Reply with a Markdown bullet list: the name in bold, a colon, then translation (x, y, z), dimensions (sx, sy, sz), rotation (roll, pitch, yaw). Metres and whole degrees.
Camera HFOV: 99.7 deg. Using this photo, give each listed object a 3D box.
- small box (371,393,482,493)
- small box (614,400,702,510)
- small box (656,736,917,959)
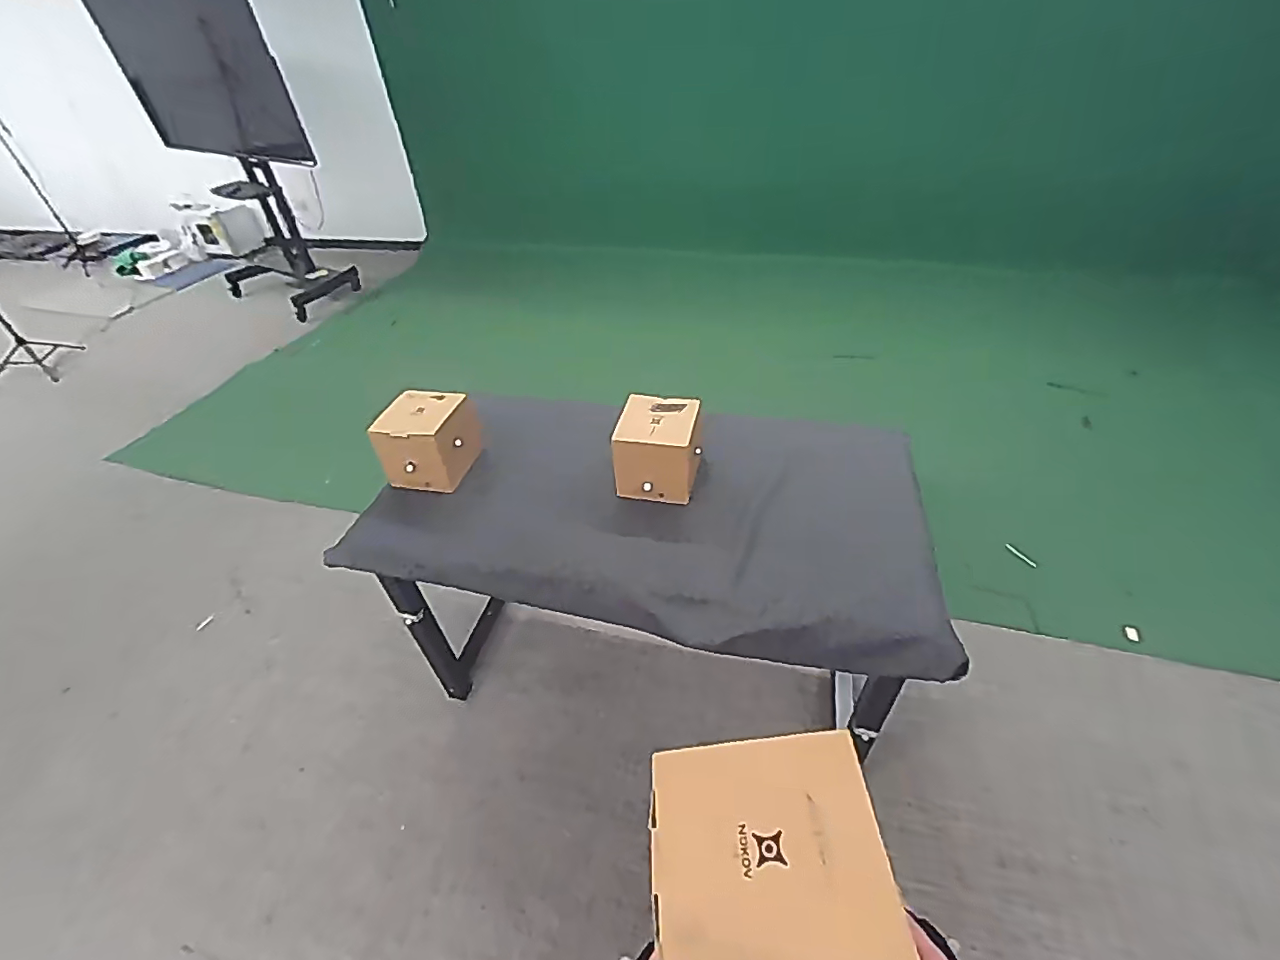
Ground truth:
- **small box**: translation (-0.502, -0.089, 1.304), dimensions (0.168, 0.176, 0.179), rotation (6, 42, 10)
- **small box**: translation (0.046, -0.058, 1.237), dimensions (0.168, 0.176, 0.179), rotation (7, 43, 12)
- **small box**: translation (0.118, 0.350, 0.472), dimensions (0.179, 0.176, 0.168), rotation (-10, 40, 8)
